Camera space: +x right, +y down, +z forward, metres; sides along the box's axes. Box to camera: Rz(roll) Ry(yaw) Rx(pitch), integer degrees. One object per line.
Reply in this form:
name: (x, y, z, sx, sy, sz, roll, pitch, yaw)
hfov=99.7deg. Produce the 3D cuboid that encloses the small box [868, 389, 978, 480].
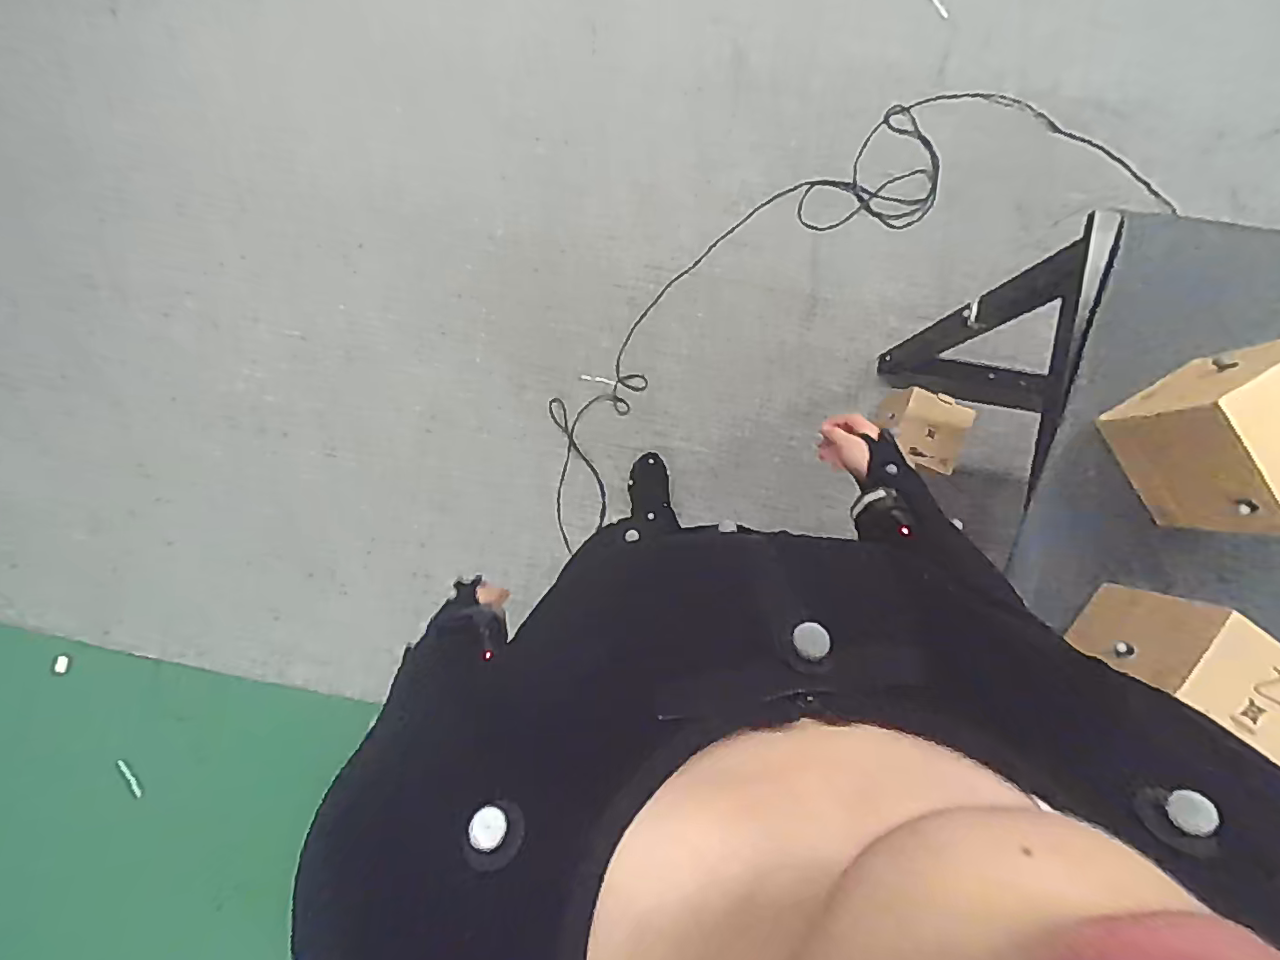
small box: (0.715, -0.111, 1.389, 0.168, 0.176, 0.179, 23, 88, 2)

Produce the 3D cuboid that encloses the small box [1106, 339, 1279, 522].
small box: (0.740, -0.057, 0.660, 0.168, 0.176, 0.179, -32, 88, 0)
